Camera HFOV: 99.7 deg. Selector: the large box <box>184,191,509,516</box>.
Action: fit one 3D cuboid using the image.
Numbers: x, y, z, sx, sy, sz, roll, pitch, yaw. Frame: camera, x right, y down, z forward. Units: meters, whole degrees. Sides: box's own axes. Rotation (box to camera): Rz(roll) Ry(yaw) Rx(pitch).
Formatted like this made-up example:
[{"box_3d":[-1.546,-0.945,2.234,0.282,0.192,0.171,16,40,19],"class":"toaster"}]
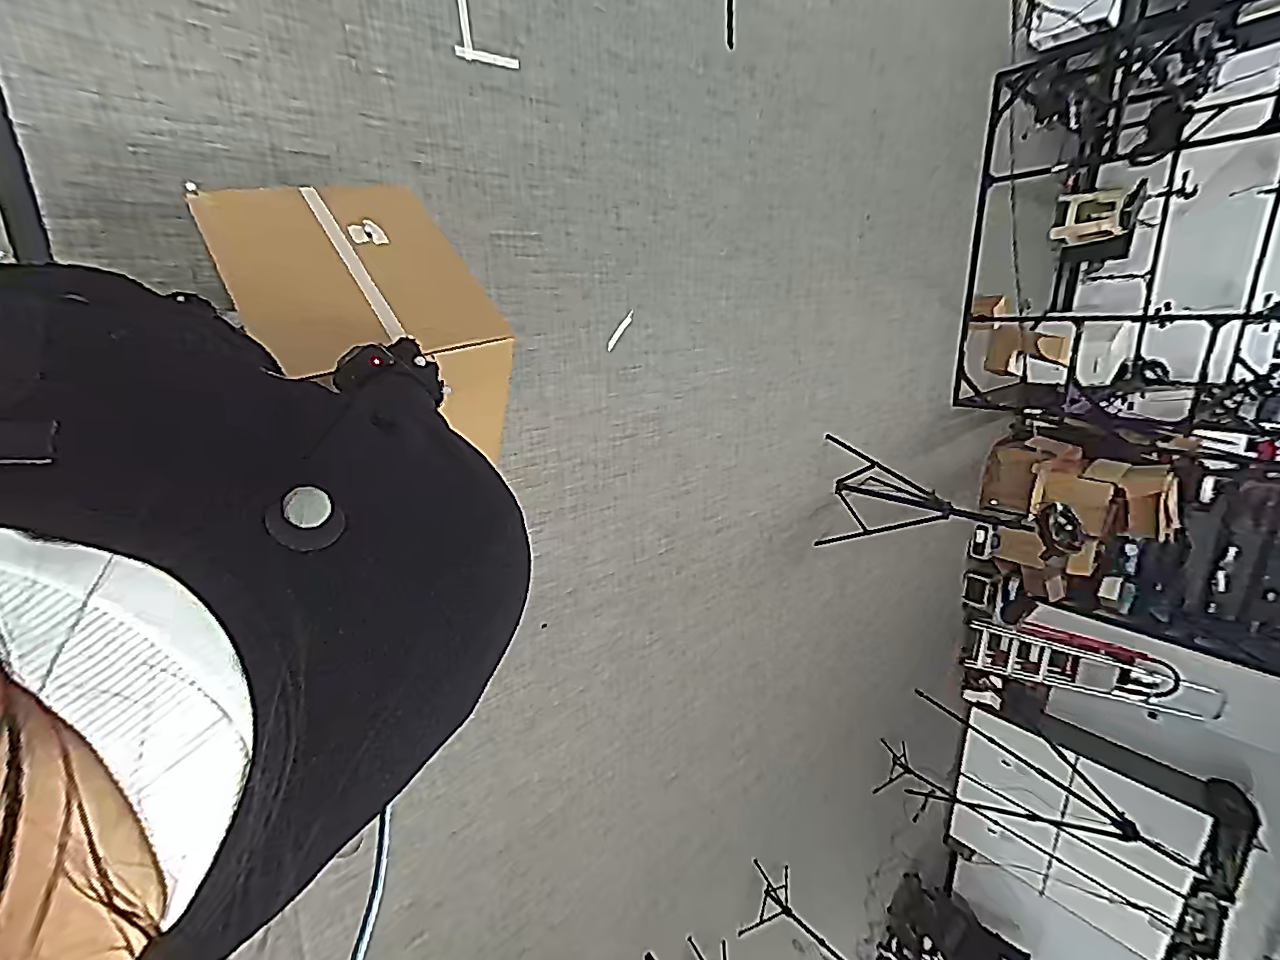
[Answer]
[{"box_3d":[-0.463,-0.218,0.901,0.320,0.408,0.320,-23,154,-34],"class":"large box"}]
